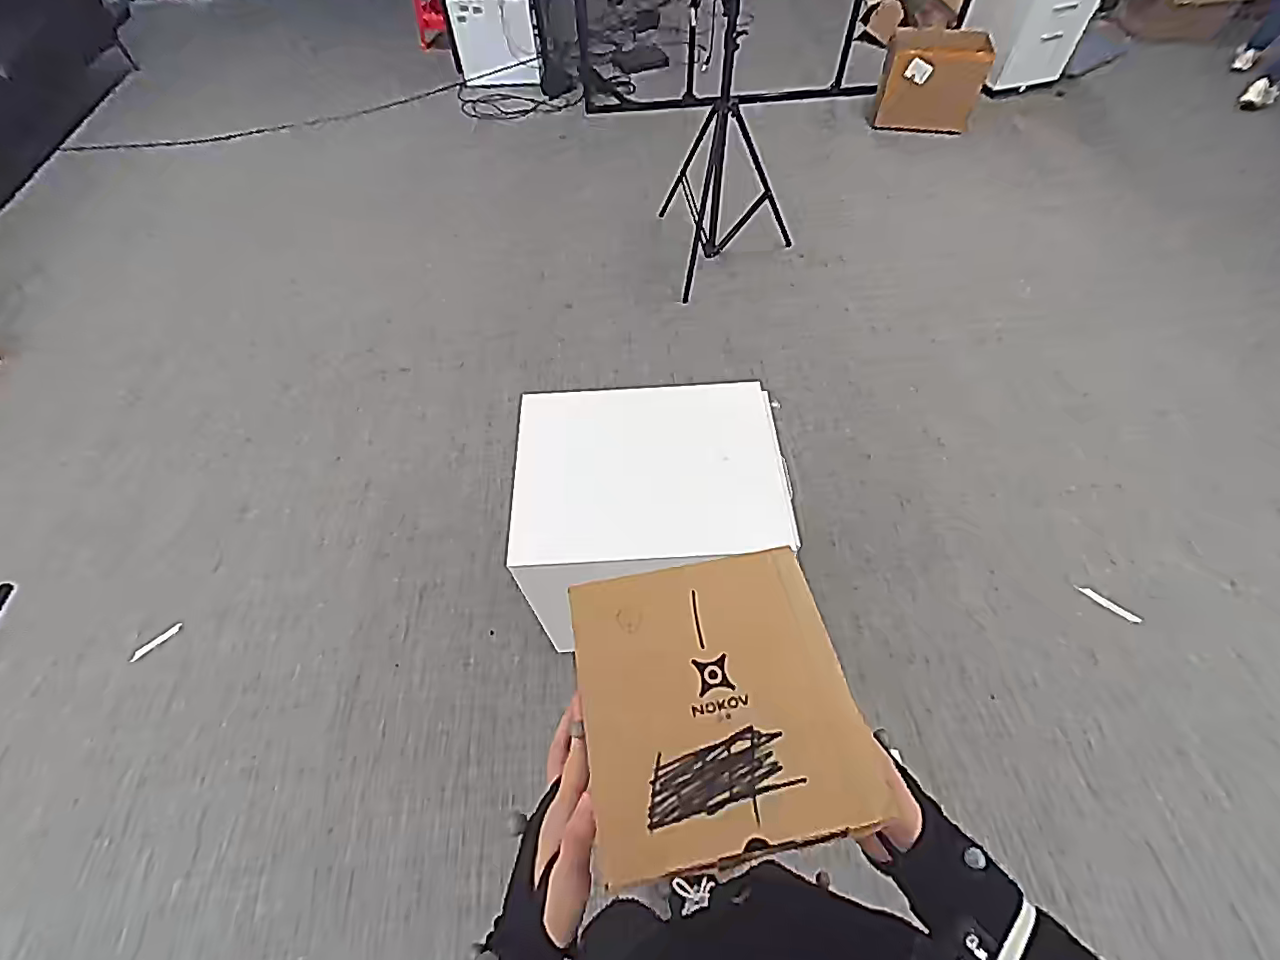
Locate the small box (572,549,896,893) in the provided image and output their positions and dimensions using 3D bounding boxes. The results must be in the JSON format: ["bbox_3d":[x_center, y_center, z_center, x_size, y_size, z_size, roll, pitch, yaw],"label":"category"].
[{"bbox_3d":[0.049,0.177,0.401,0.168,0.176,0.179,-10,54,-6],"label":"small box"}]
